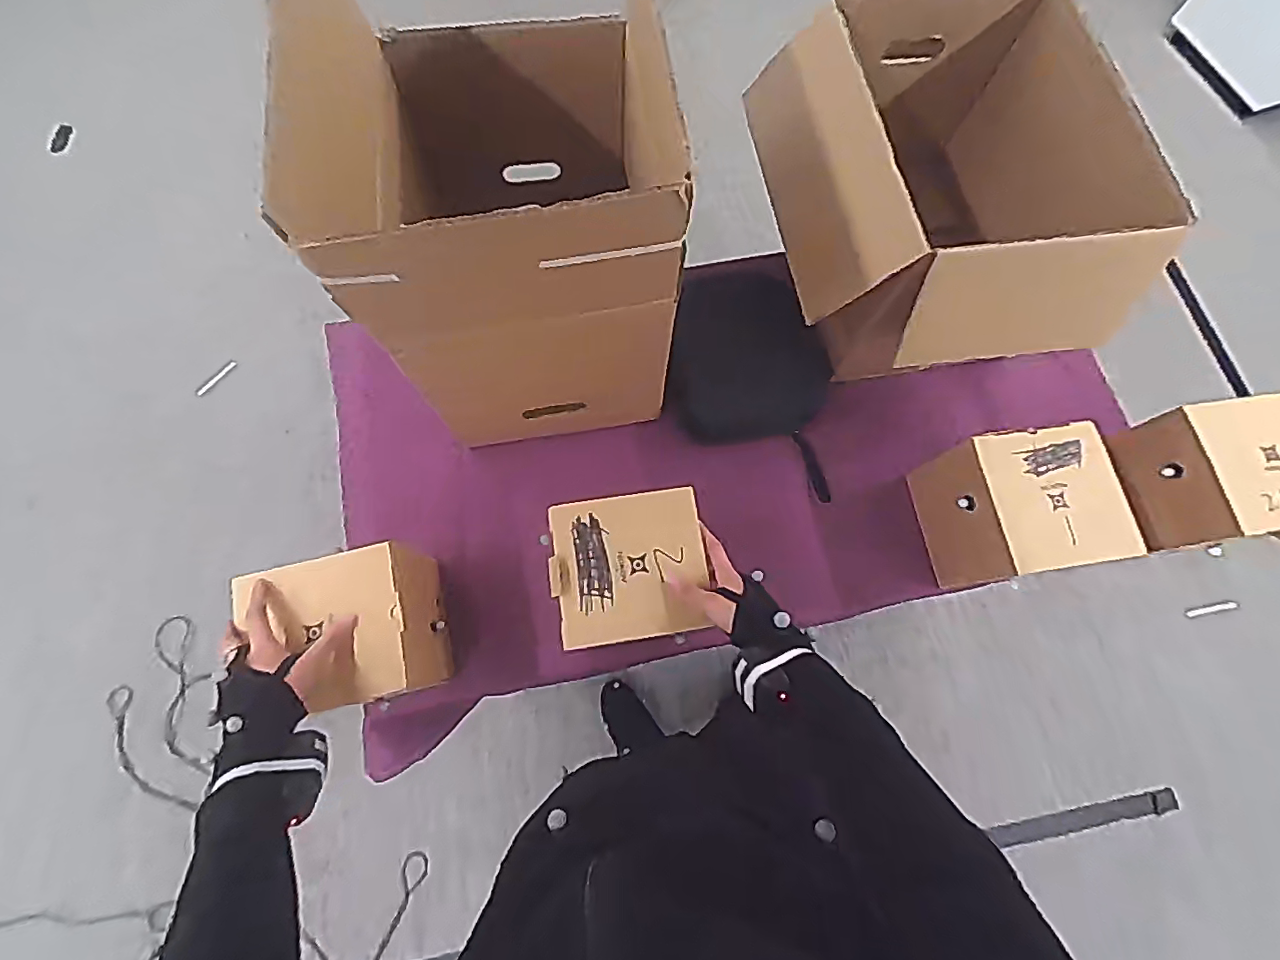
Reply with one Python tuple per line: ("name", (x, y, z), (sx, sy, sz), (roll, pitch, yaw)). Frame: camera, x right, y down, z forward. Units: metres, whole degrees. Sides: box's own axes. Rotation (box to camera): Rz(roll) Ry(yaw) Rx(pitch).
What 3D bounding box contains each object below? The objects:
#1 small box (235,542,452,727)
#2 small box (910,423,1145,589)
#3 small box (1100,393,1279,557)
("small box", (-0.351, 0.188, 0.664), (0.179, 0.176, 0.168), (-13, 74, -7))
("small box", (0.499, 0.042, 0.729), (0.168, 0.176, 0.179), (-8, 74, -4))
("small box", (0.780, 0.000, 0.747), (0.168, 0.176, 0.179), (-7, 73, -3))
